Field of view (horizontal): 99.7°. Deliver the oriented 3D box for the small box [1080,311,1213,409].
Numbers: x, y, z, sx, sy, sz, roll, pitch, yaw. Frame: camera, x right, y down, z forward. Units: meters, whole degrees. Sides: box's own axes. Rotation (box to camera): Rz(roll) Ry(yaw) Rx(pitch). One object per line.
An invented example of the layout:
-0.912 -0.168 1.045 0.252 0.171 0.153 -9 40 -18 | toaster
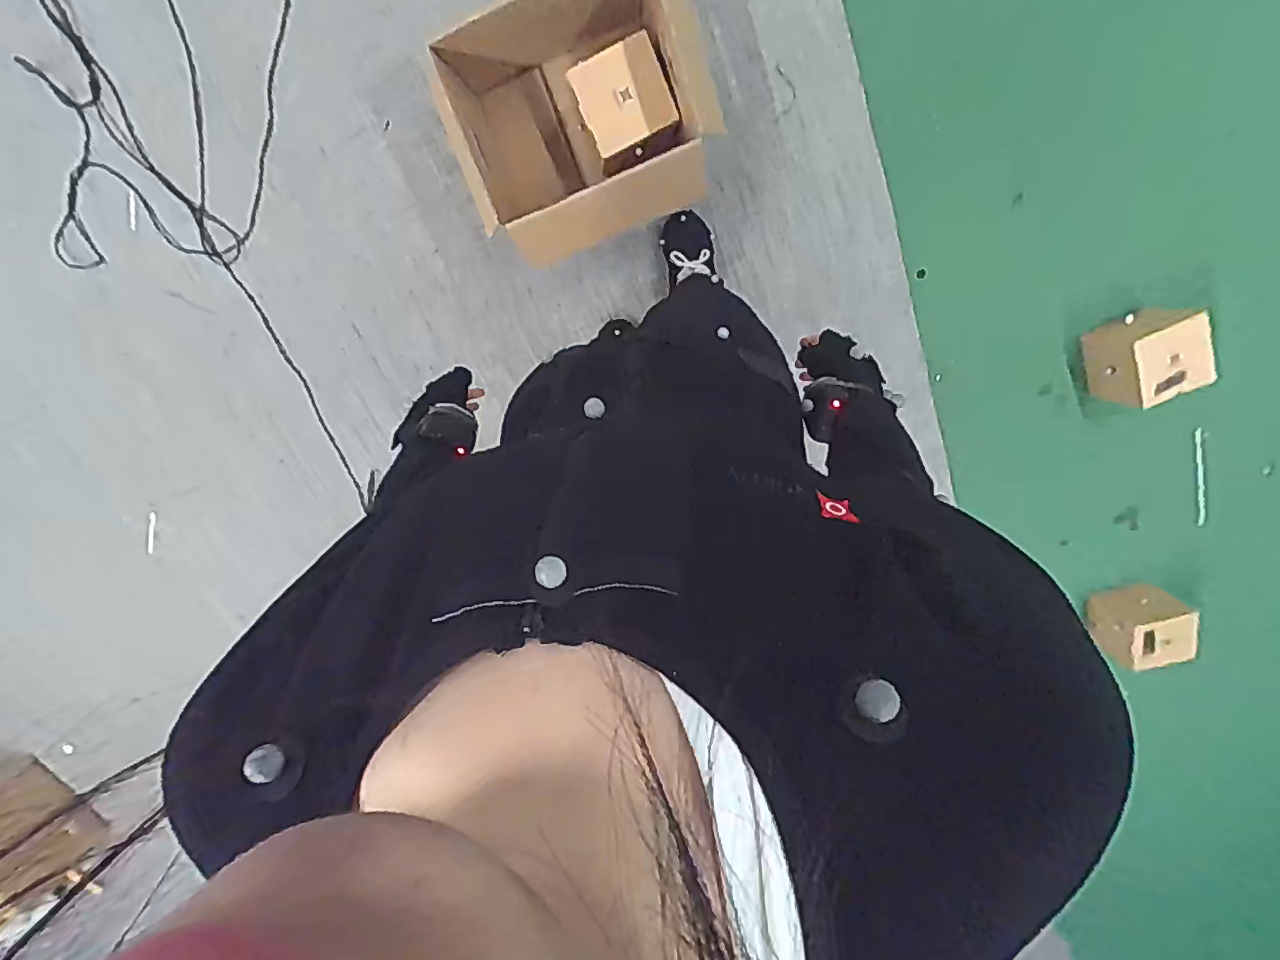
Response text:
1.239 -0.301 1.332 0.168 0.176 0.179 -24 108 8 | small box
